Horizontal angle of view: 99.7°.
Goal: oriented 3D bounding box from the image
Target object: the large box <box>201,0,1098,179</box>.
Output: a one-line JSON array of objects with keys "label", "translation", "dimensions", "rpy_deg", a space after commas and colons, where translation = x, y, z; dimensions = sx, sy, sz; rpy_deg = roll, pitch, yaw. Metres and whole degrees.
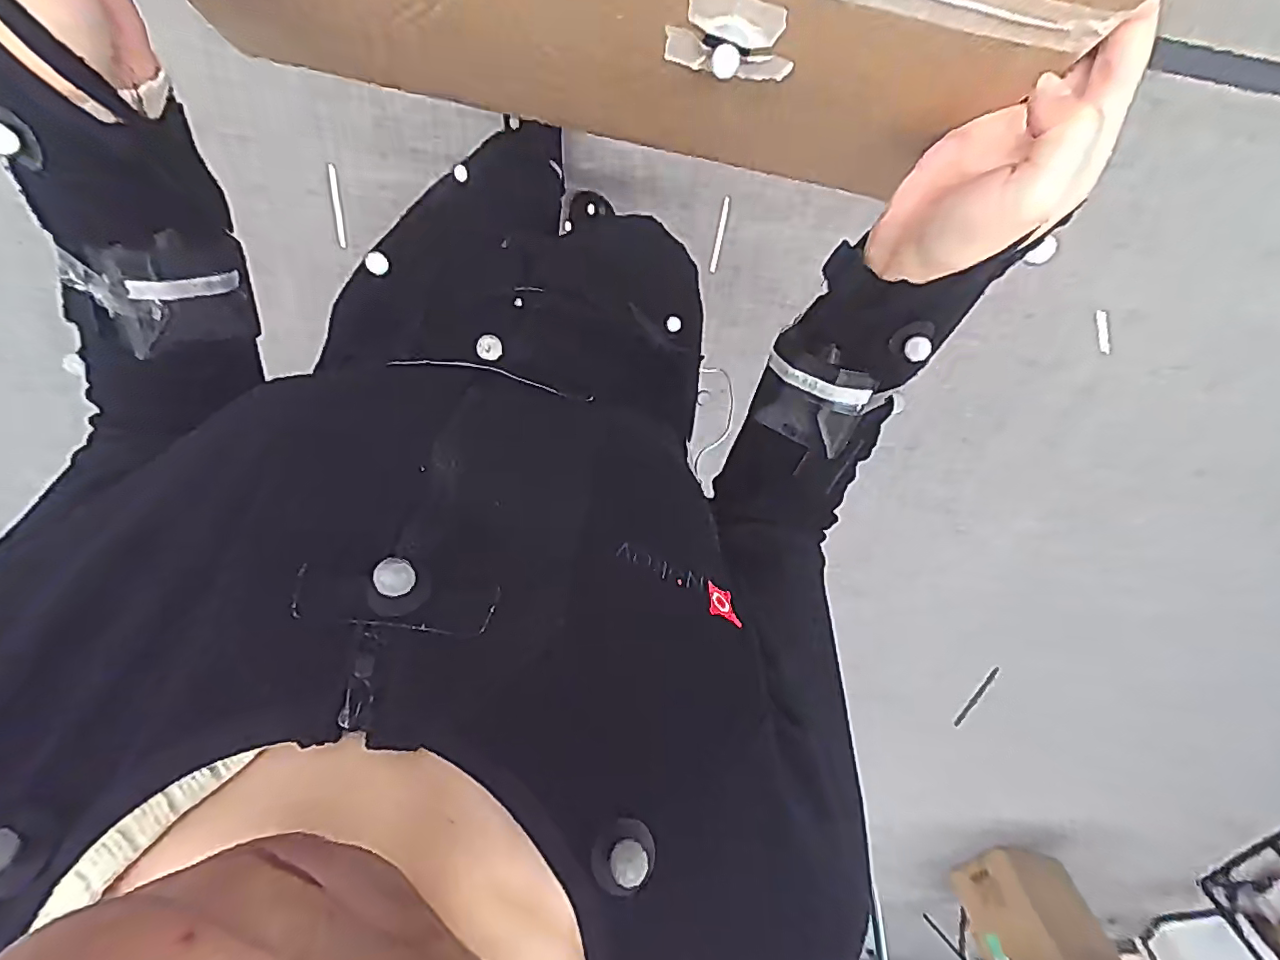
[{"label": "large box", "translation": [-0.002, -0.358, 0.174], "dimensions": [0.408, 0.320, 0.320], "rpy_deg": [8, 96, -6]}]
